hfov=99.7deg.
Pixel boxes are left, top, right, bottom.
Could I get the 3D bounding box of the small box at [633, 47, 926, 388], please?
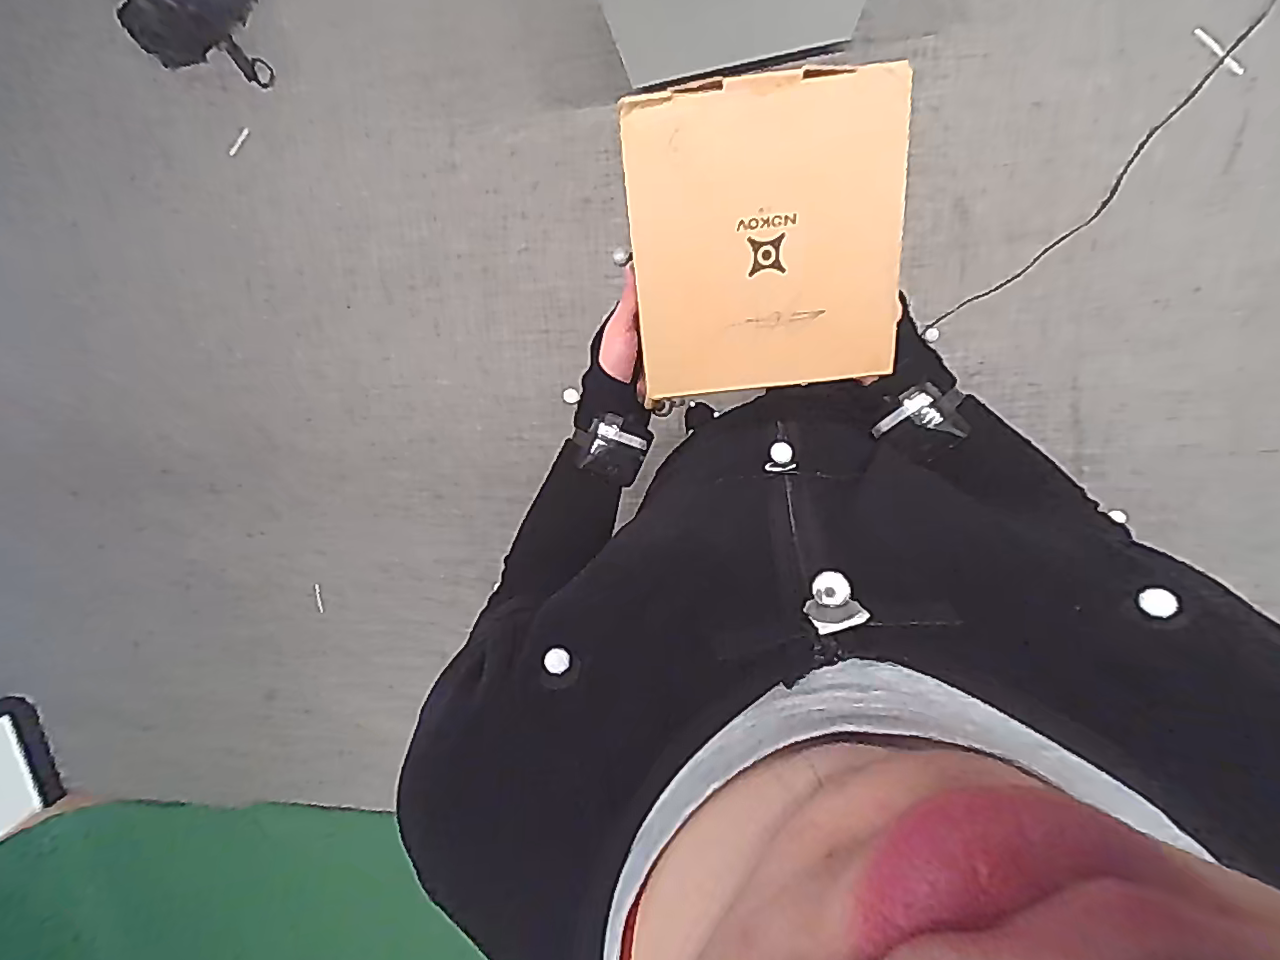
[{"bbox_3d":[0.083,-0.178,0.401,0.168,0.176,0.179,-6,113,2],"label":"small box"}]
